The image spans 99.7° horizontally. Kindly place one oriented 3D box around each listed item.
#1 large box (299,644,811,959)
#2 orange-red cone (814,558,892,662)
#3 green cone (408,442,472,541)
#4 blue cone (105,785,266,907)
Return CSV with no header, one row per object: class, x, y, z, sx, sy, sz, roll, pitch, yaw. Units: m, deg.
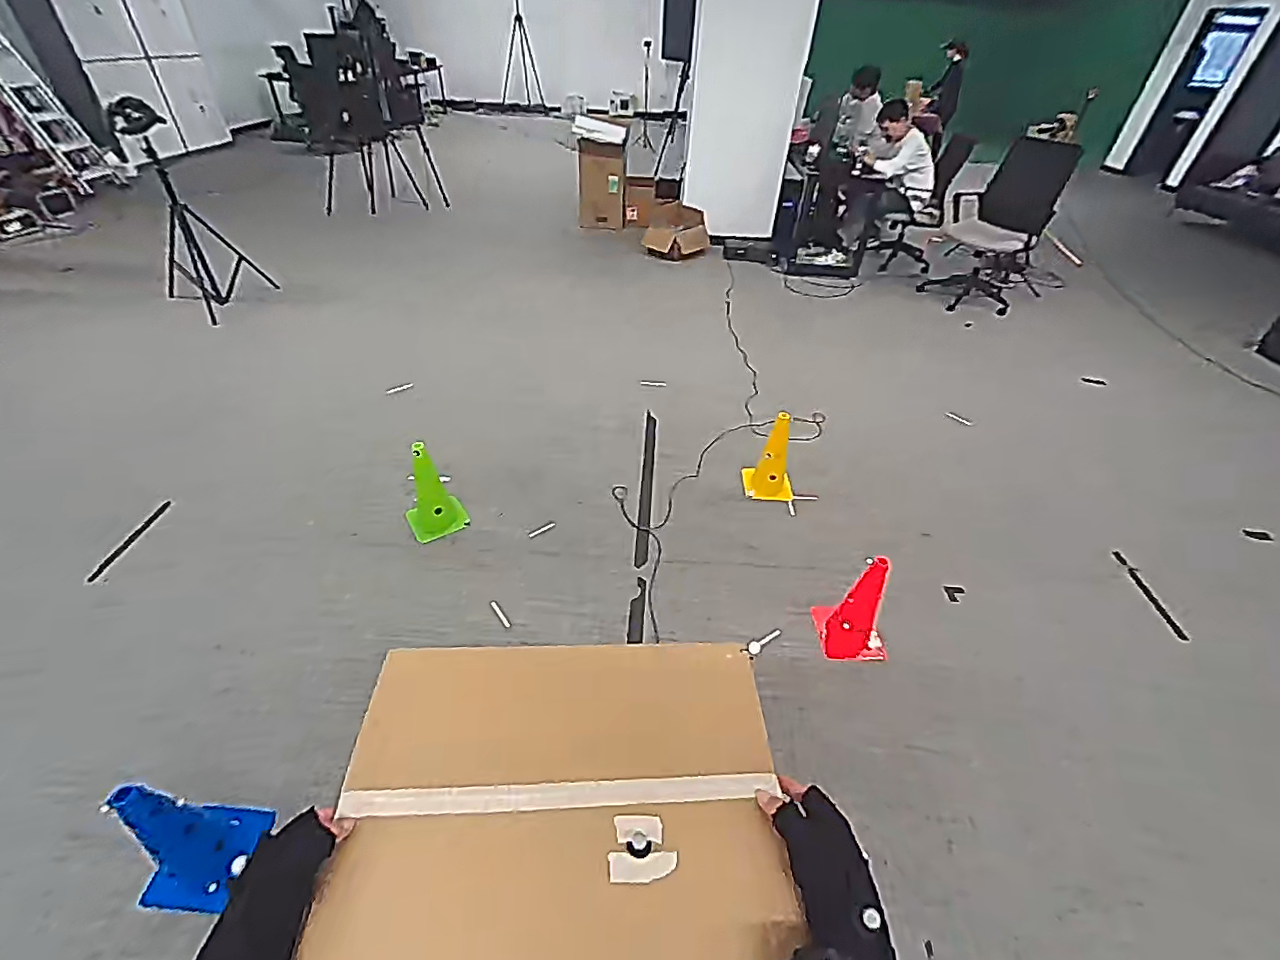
large box,-0.080,0.406,0.608,0.408,0.320,0.320,1,42,-5
orange-red cone,0.691,0.370,1.659,0.198,0.360,0.199,3,39,-2
green cone,-0.770,0.013,1.981,0.202,0.368,0.200,-23,46,-26
blue cone,-0.981,0.734,1.135,0.192,0.380,0.193,5,40,4
